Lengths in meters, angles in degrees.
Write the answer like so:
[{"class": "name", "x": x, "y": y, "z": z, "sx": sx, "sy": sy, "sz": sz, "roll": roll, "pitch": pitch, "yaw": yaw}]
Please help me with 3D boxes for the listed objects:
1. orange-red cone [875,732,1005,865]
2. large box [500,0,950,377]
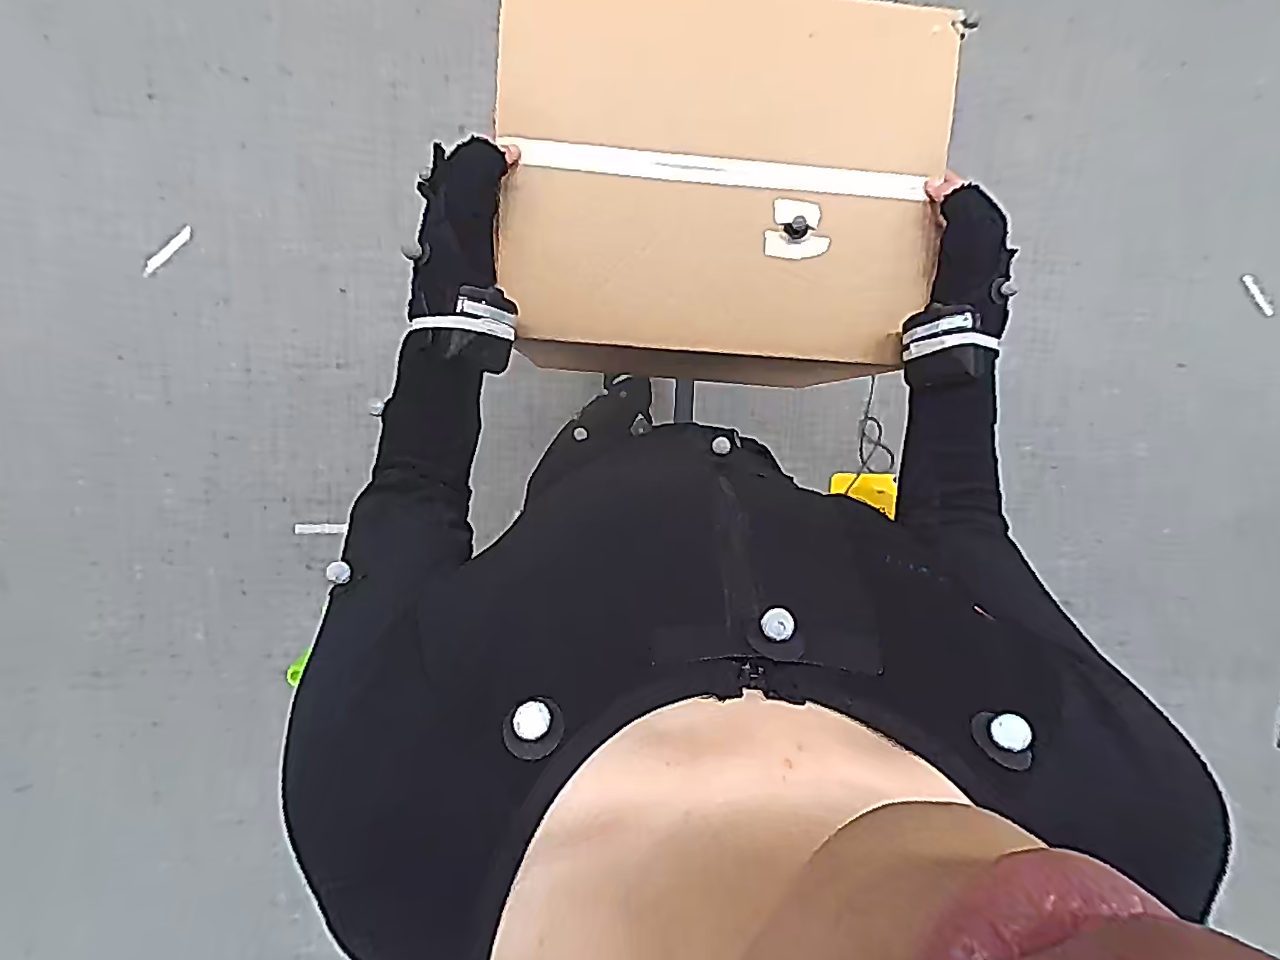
[{"class": "orange-red cone", "x": 0.775, "y": 0.822, "z": 1.368, "sx": 0.198, "sy": 0.360, "sz": 0.199, "roll": -1, "pitch": 92, "yaw": -4}, {"class": "large box", "x": 0.065, "y": -0.299, "z": 0.635, "sx": 0.408, "sy": 0.320, "sz": 0.320, "roll": 3, "pitch": 96, "yaw": -5}]
